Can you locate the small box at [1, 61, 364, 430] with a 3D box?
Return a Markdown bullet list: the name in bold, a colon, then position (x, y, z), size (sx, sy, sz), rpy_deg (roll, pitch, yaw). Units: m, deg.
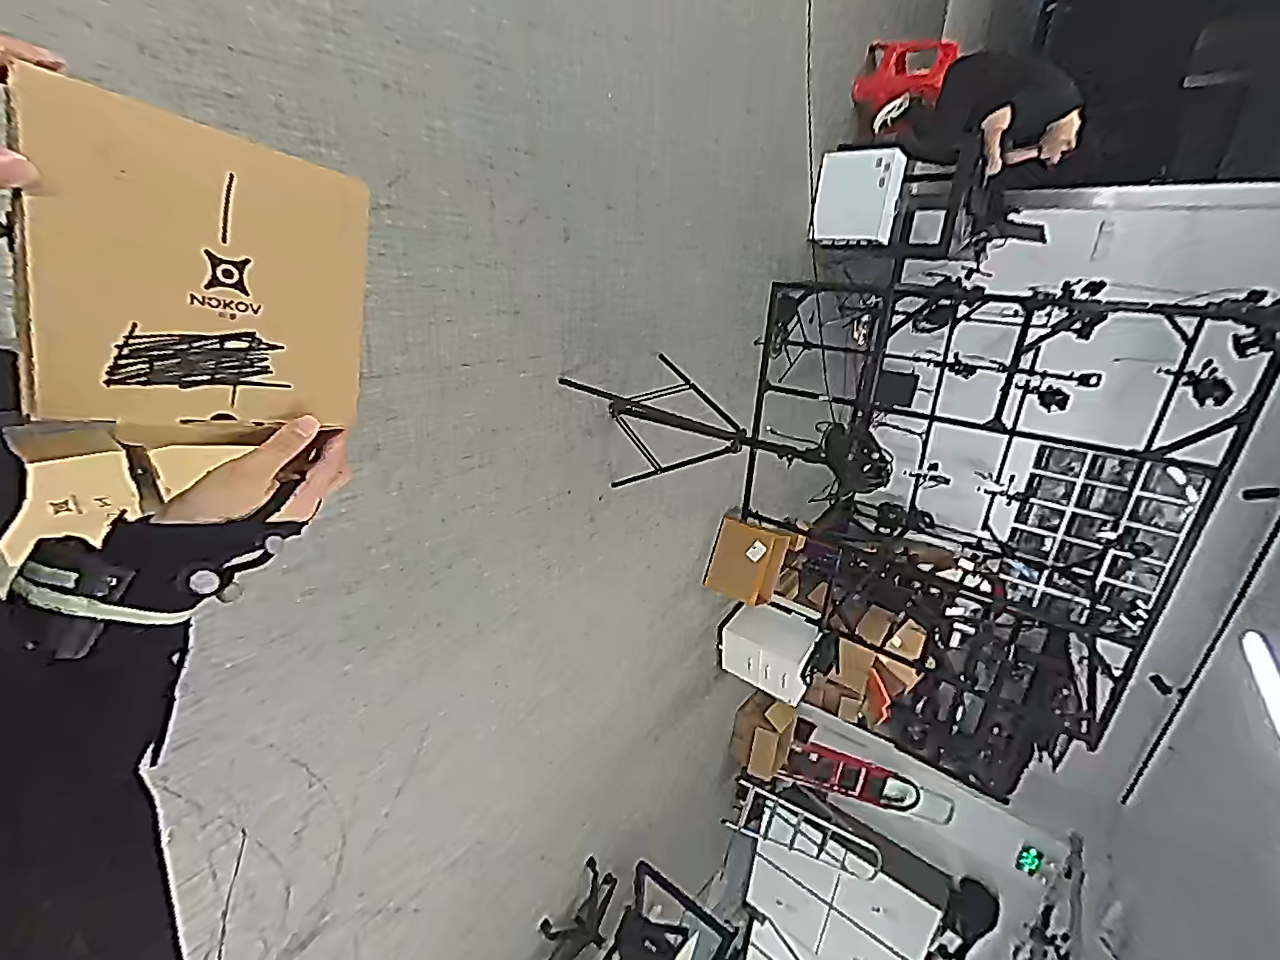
- **small box**: position (-0.320, -0.141, 0.382), size (0.168, 0.176, 0.179), rpy_deg (-4, 109, -50)
